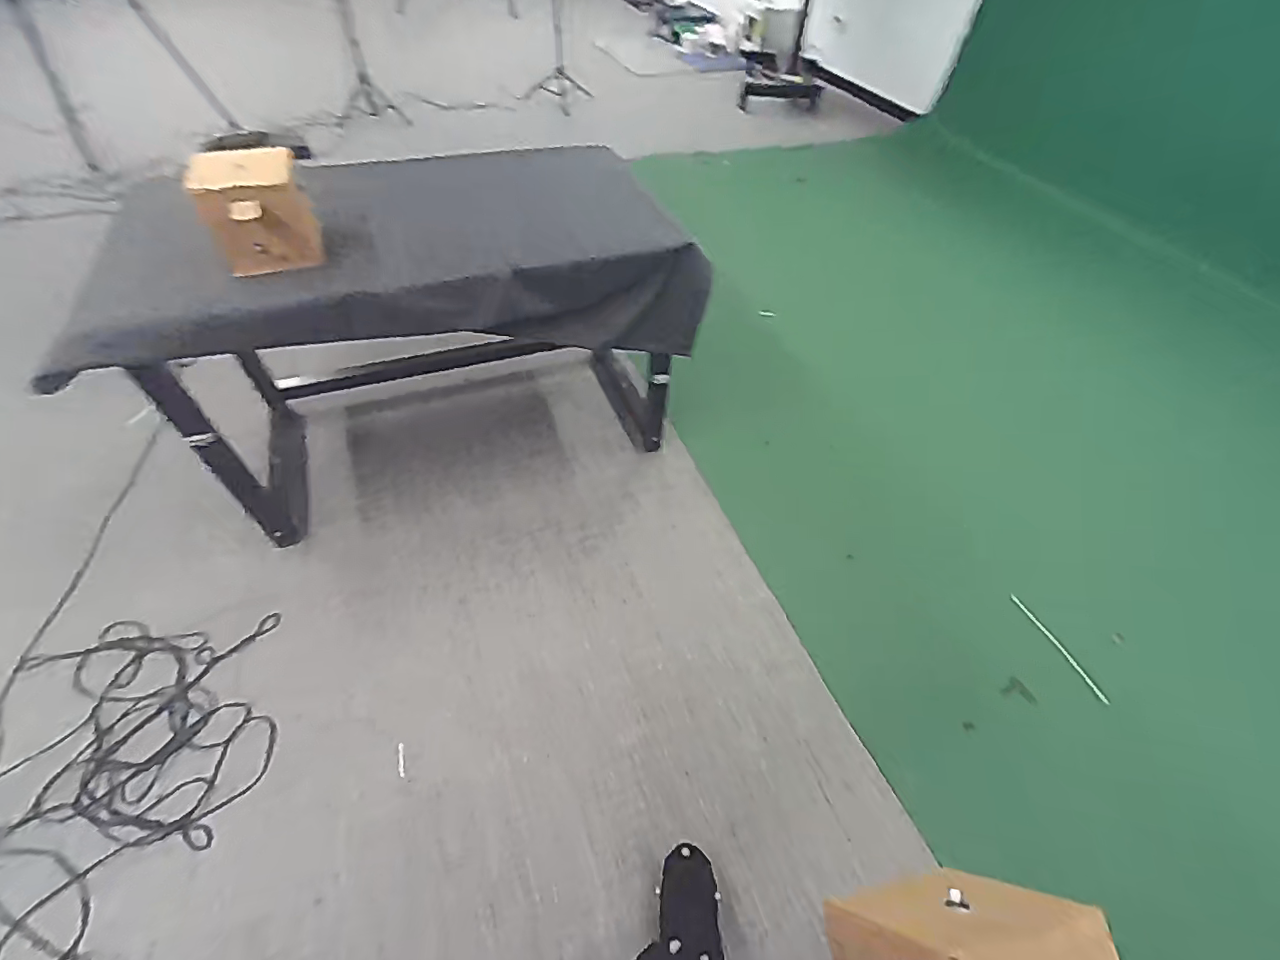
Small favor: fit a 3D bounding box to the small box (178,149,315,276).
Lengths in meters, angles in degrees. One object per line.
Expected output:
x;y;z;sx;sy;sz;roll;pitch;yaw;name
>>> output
-0.766;-0.530;1.072;0.168;0.176;0.179;-16;54;-17;small box
